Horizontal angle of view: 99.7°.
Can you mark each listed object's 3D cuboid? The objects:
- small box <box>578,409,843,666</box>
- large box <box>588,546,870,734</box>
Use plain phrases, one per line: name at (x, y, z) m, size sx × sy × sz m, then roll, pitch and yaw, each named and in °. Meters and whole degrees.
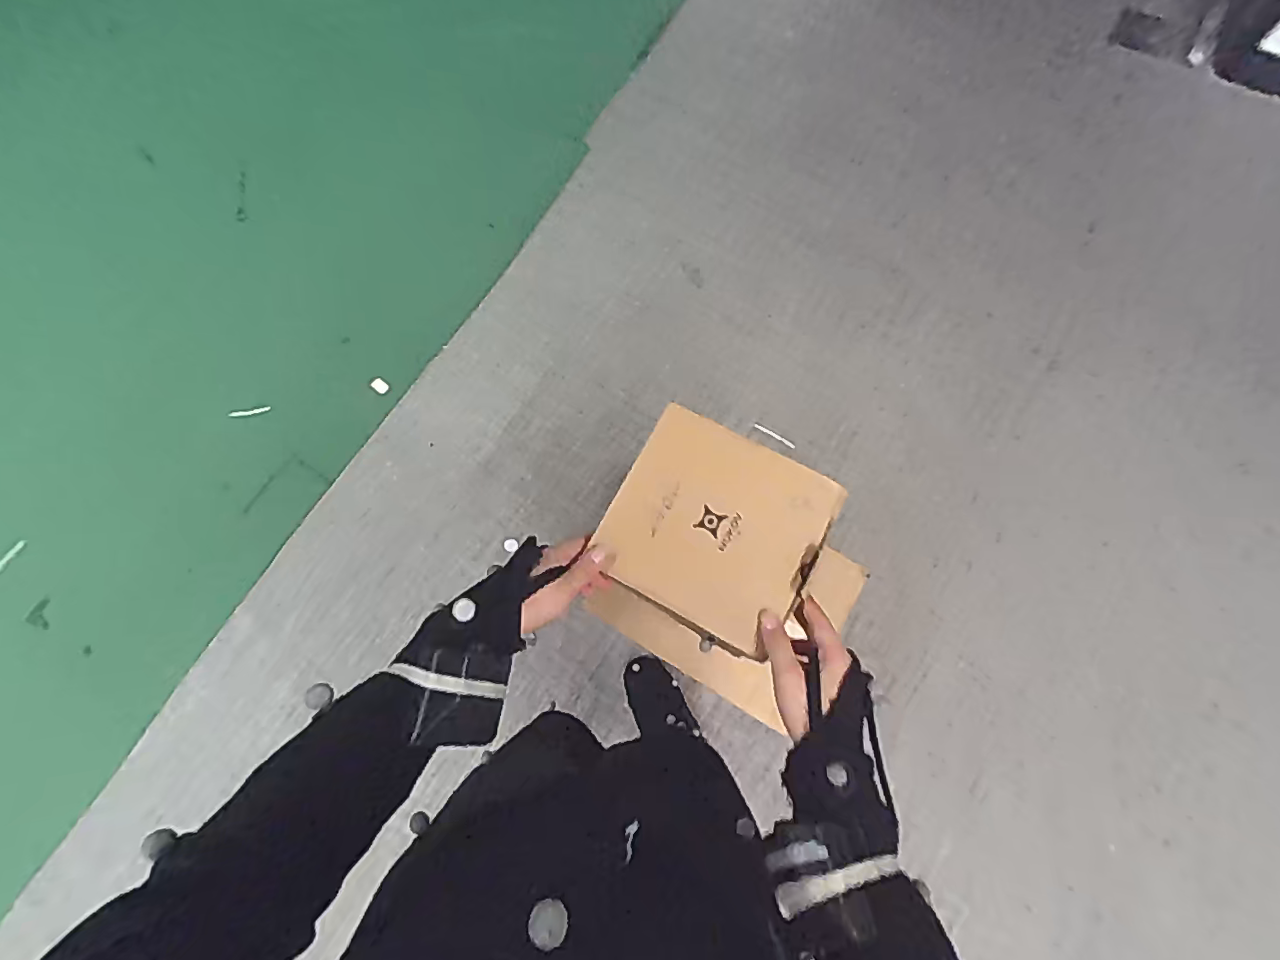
small box at (0.065, 0.063, 0.535) m, size 0.179 × 0.176 × 0.168 m, roll 27°, pitch 75°, yaw 11°
large box at (0.162, 0.232, 1.084) m, size 0.408 × 0.320 × 0.320 m, roll 29°, pitch 81°, yaw 11°
